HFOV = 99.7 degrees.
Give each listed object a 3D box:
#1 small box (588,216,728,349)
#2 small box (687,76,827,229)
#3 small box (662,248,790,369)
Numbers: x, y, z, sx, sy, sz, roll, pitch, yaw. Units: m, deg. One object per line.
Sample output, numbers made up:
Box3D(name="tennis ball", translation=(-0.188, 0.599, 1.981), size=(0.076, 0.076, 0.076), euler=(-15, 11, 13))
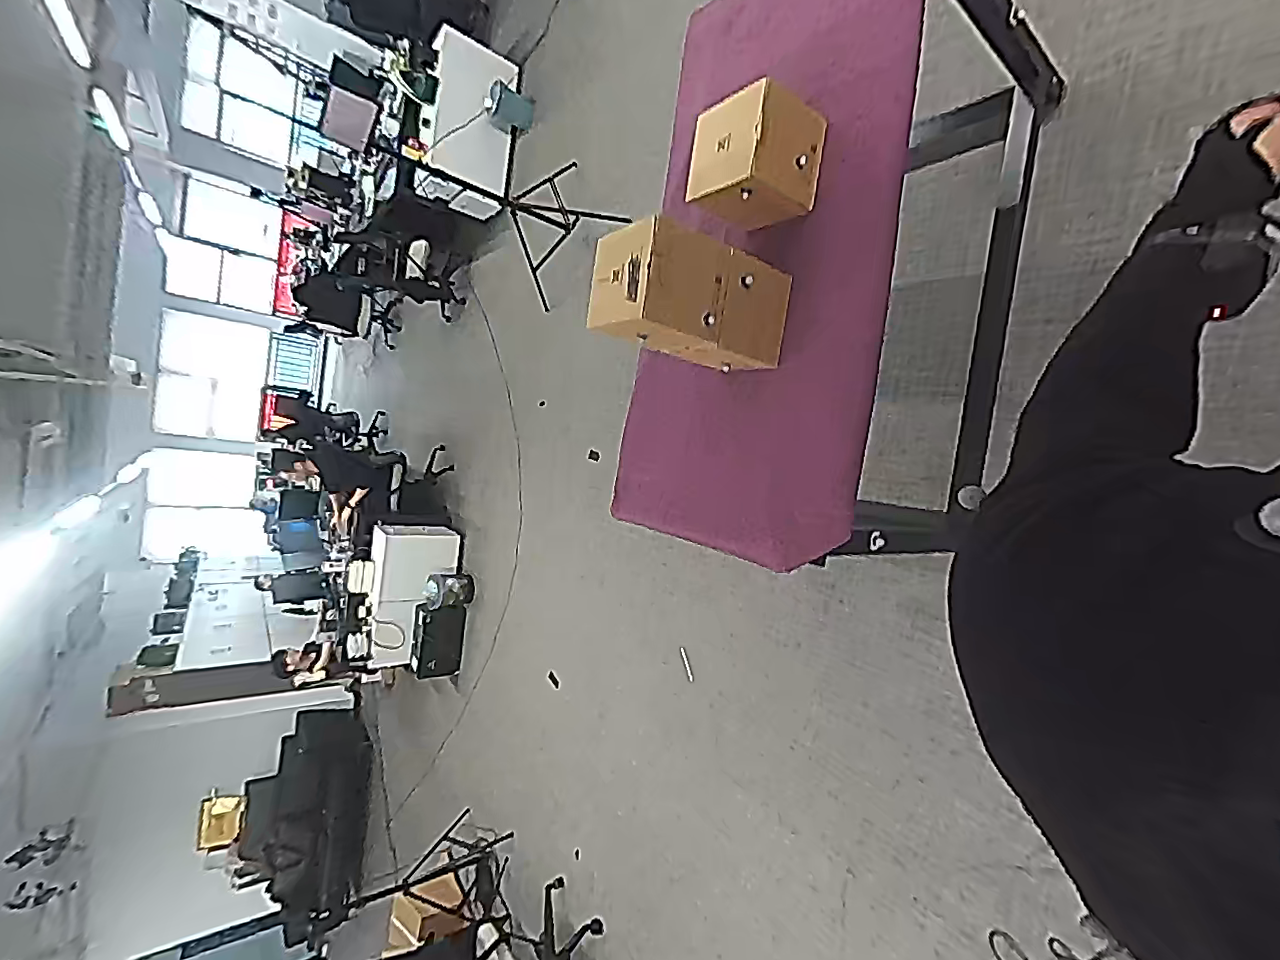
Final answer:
Box3D(name="small box", translation=(0.032, -0.334, 0.953), size=(0.179, 0.176, 0.168), euler=(12, 94, 54))
Box3D(name="small box", translation=(0.218, -0.596, 1.015), size=(0.179, 0.176, 0.168), euler=(14, 97, 54))
Box3D(name="small box", translation=(0.167, -0.320, 1.045), size=(0.168, 0.176, 0.179), euler=(15, 97, 53))
